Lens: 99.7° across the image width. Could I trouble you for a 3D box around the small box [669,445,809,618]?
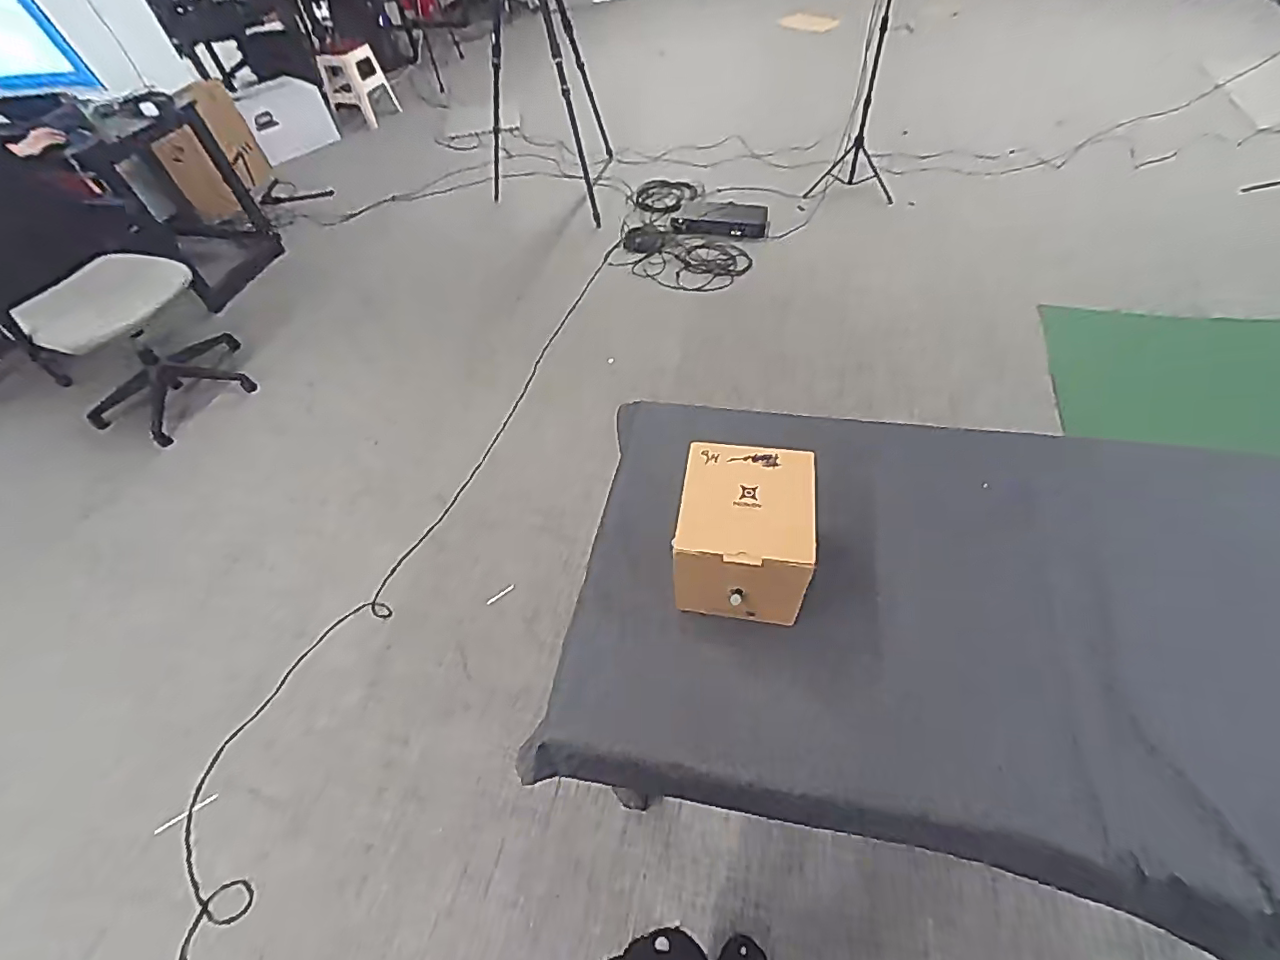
[{"bbox_3d":[0.138,0.074,0.749,0.168,0.176,0.179,5,54,11],"label":"small box"}]
